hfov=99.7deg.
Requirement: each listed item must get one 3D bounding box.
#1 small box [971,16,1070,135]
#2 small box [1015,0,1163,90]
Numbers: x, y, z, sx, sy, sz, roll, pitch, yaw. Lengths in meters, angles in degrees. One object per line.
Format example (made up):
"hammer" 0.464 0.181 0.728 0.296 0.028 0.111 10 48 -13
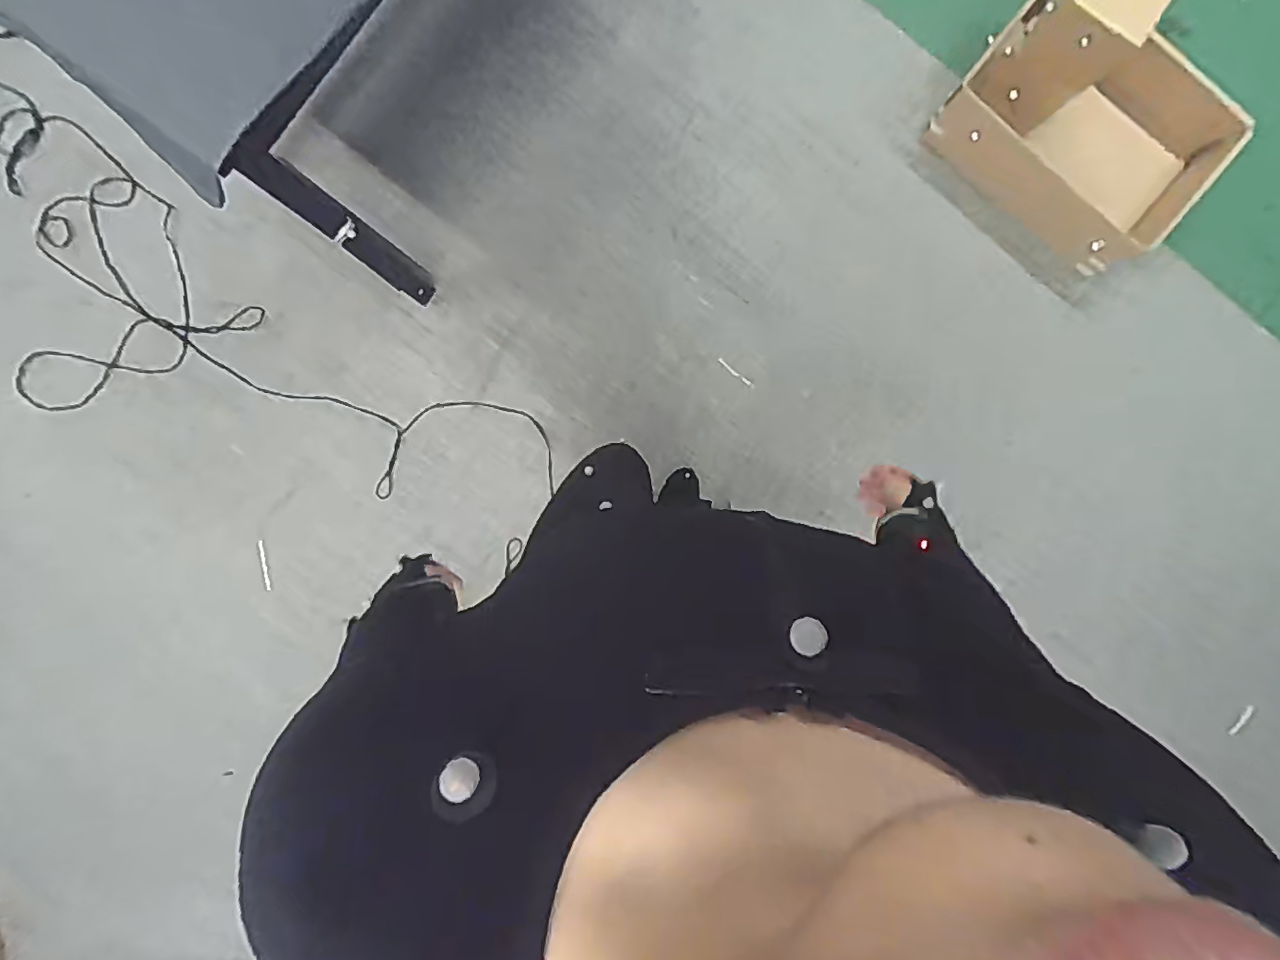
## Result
"small box" 0.967 -1.002 1.327 0.179 0.176 0.168 41 92 -2
"small box" 0.966 -0.997 1.163 0.179 0.176 0.168 31 93 -4
